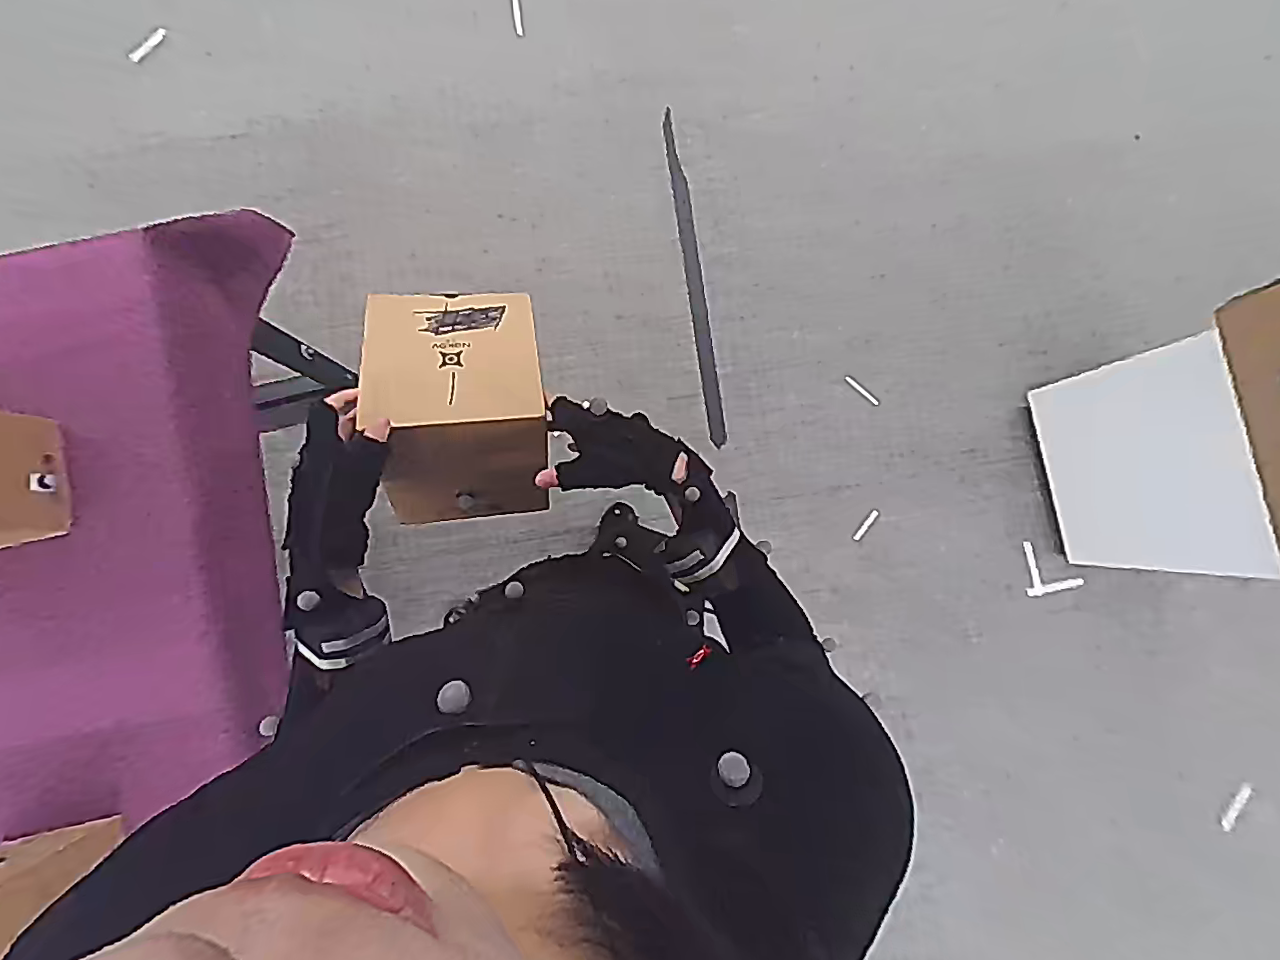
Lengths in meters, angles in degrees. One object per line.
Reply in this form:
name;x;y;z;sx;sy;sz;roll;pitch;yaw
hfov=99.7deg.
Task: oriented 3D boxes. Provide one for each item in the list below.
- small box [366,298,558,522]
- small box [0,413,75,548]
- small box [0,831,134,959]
small box;-0.181;-0.076;0.589;0.168;0.176;0.179;-5;55;-12
small box;-0.897;0.009;0.687;0.179;0.176;0.168;-14;87;-5
small box;-0.758;0.551;0.638;0.168;0.176;0.179;-13;85;-4
